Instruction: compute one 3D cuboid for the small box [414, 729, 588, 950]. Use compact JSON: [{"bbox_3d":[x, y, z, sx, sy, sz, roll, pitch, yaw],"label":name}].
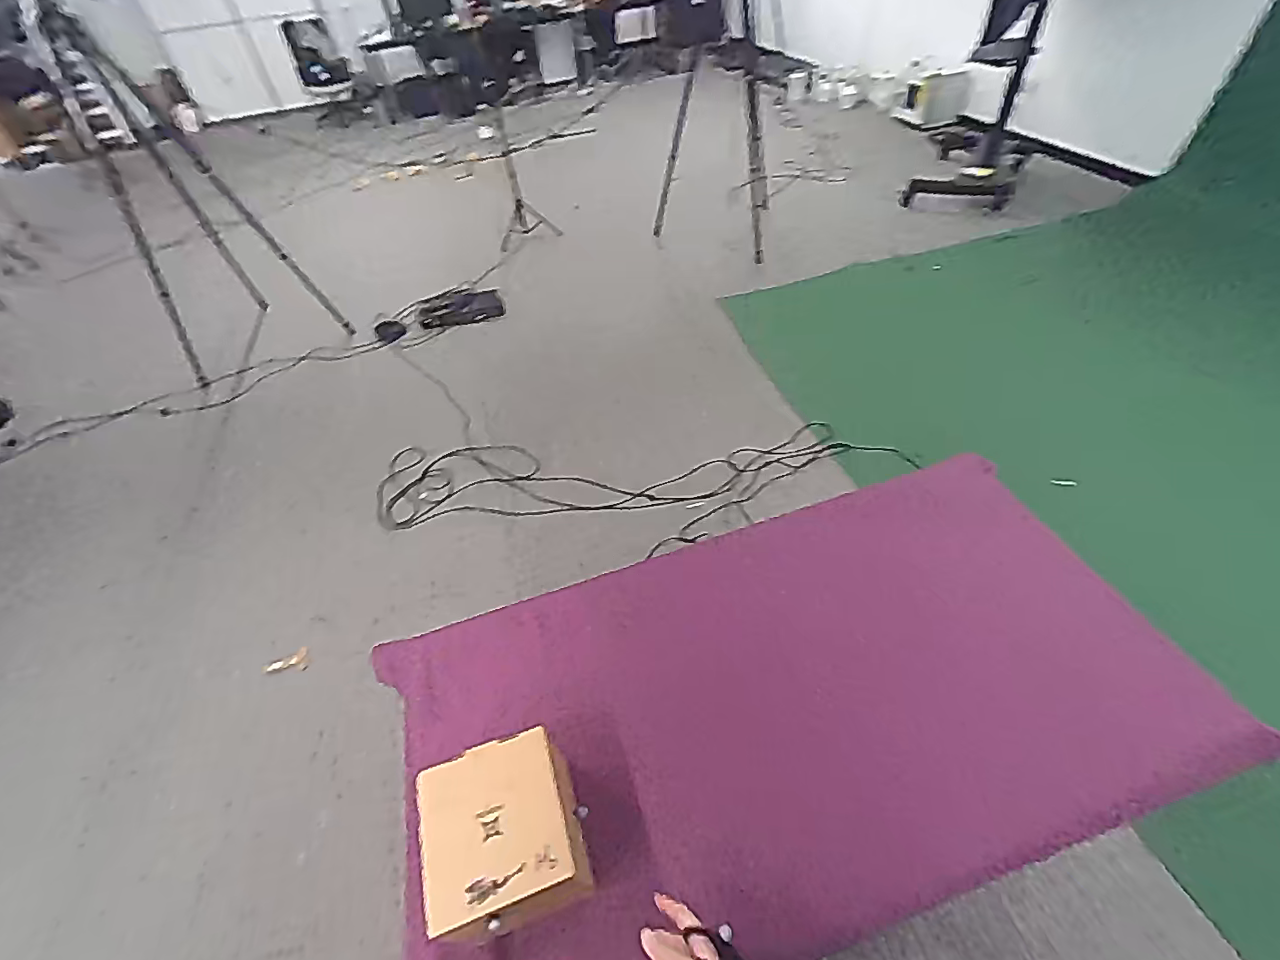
[{"bbox_3d":[-0.174,0.460,0.693,0.168,0.176,0.179,-18,47,-10],"label":"small box"}]
